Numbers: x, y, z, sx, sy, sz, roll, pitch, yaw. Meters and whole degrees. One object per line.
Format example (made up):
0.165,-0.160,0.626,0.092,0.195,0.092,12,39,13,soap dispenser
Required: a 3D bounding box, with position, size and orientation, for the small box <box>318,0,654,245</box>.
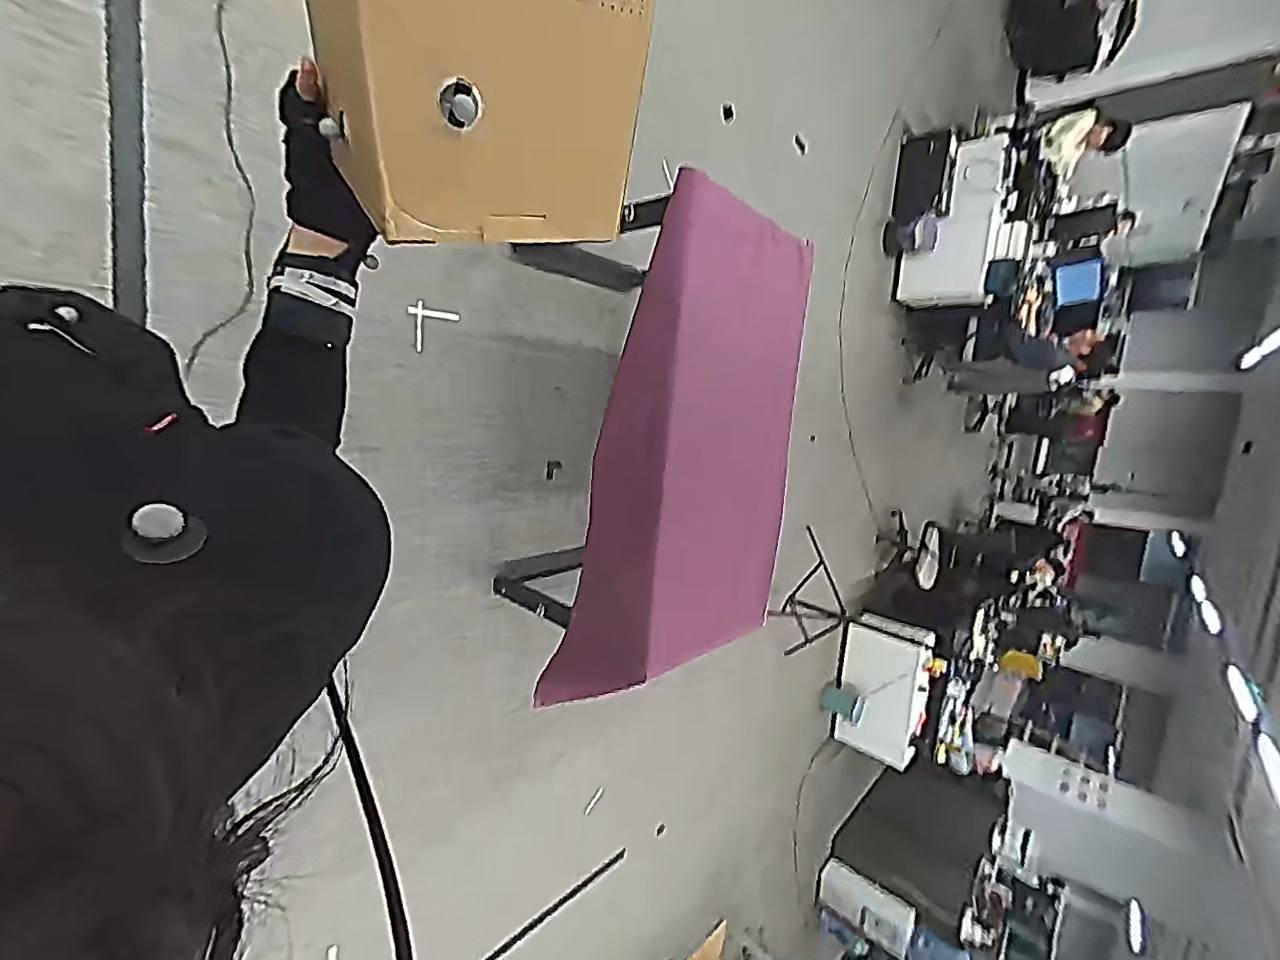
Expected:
-0.106,-0.274,0.358,0.168,0.179,0.176,-14,139,-31,small box
